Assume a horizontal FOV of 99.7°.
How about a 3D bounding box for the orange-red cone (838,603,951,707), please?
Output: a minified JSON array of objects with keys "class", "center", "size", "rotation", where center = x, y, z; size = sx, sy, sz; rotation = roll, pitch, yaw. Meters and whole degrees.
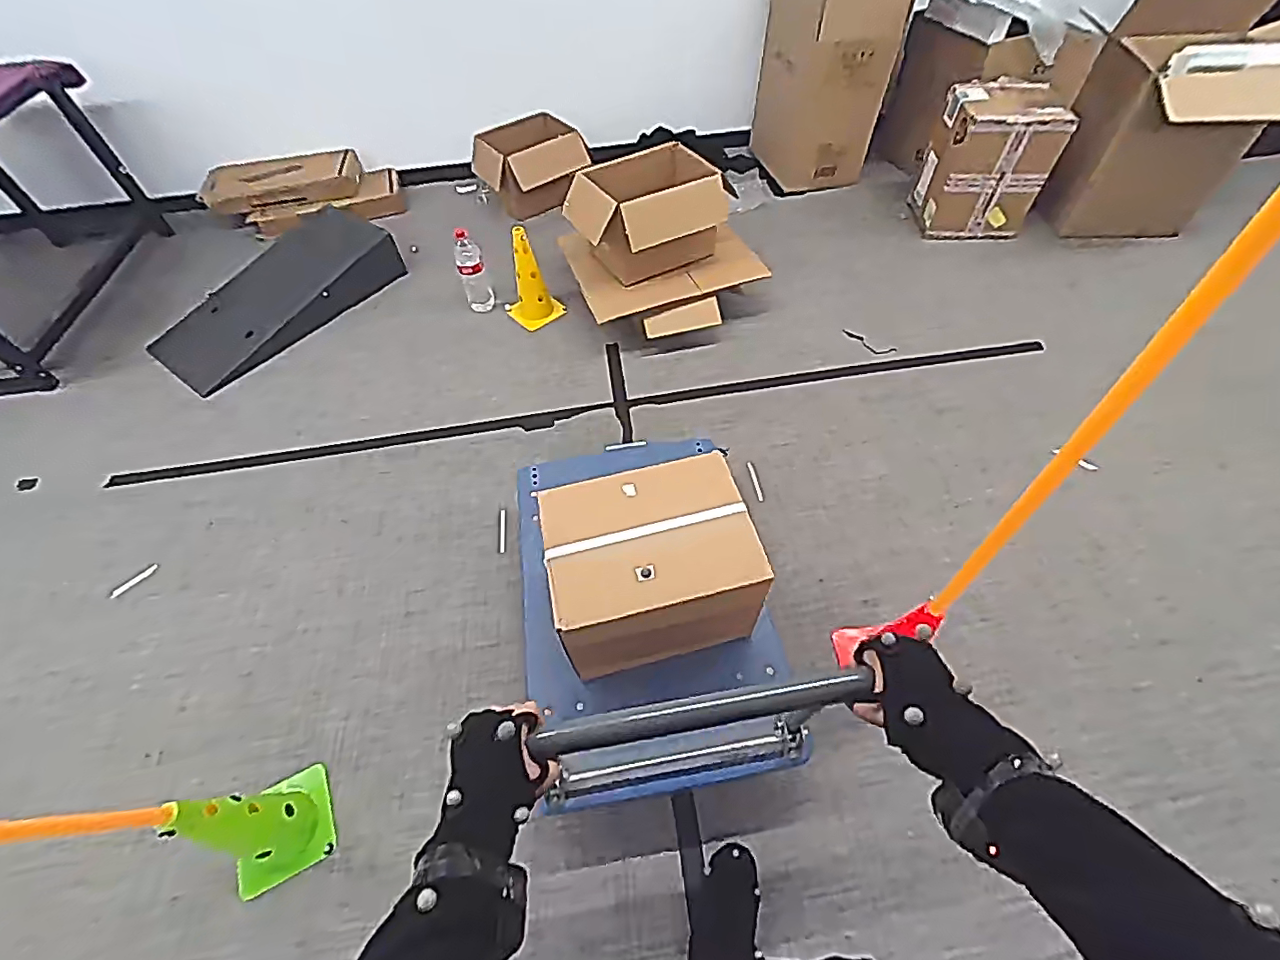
[{"class":"orange-red cone","center":[0.602,0.361,1.206],"size":[0.199,0.360,0.198],"rotation":[-2,54,0]}]
